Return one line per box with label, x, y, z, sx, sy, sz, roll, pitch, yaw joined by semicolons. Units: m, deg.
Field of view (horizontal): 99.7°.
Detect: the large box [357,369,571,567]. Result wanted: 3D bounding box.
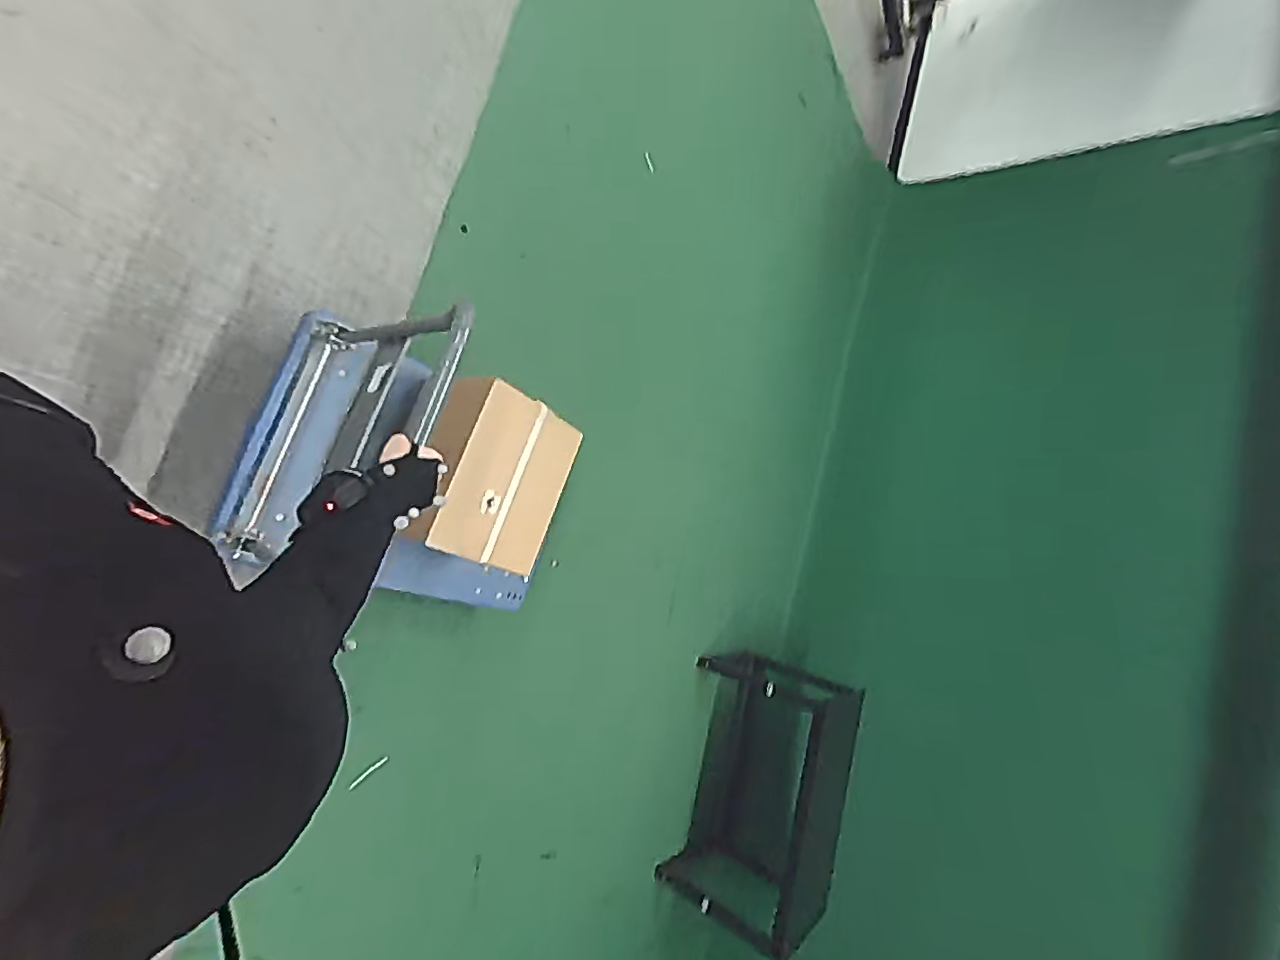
large box;-0.442;-0.035;1.388;0.320;0.320;0.408;33;73;-48
